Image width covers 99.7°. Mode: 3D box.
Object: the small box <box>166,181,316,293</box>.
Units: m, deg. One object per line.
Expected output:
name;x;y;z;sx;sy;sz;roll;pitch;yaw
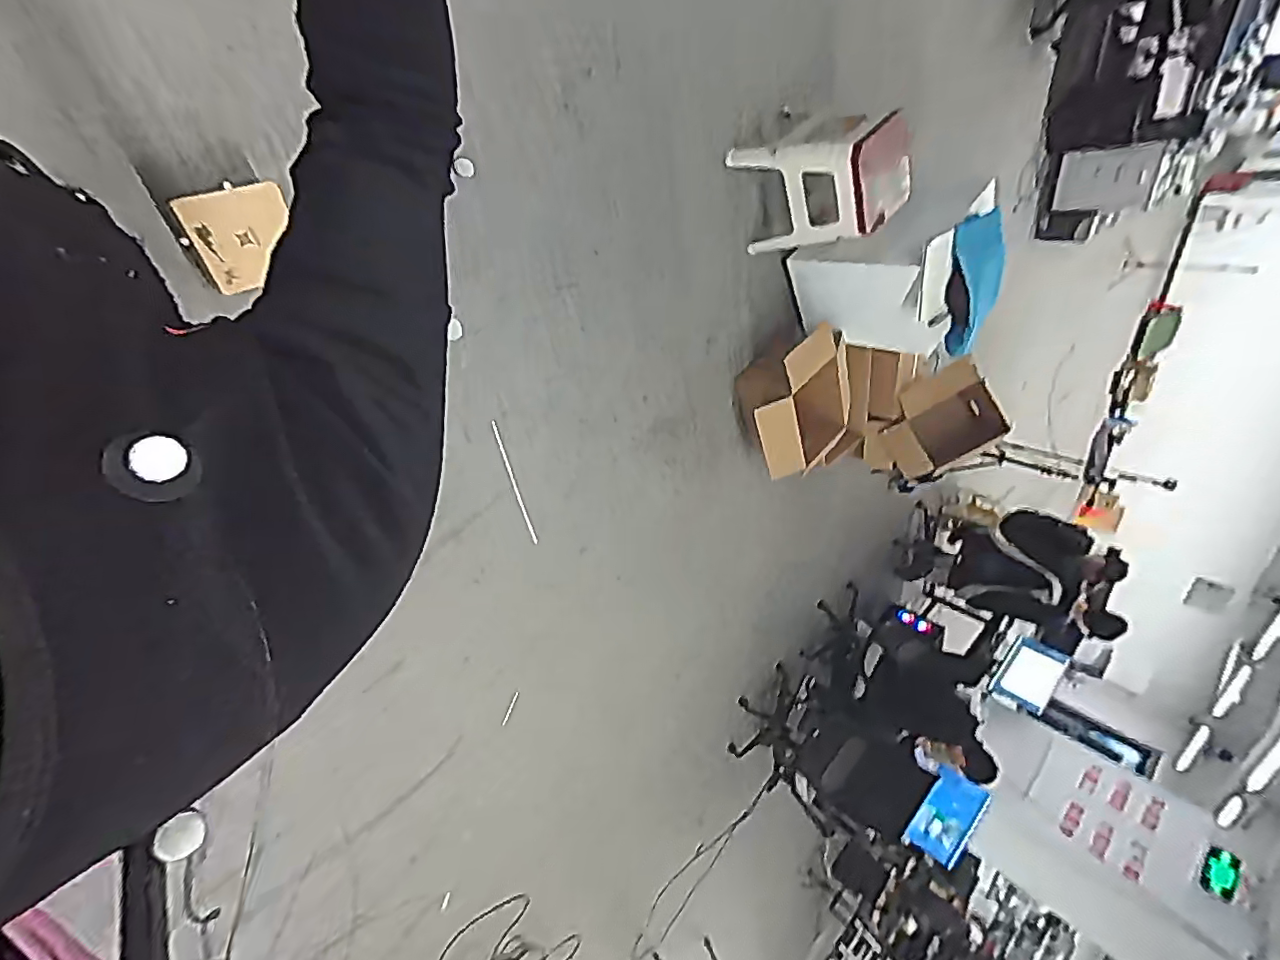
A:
small box;-0.786;-0.482;1.067;0.179;0.176;0.168;-32;128;-30
